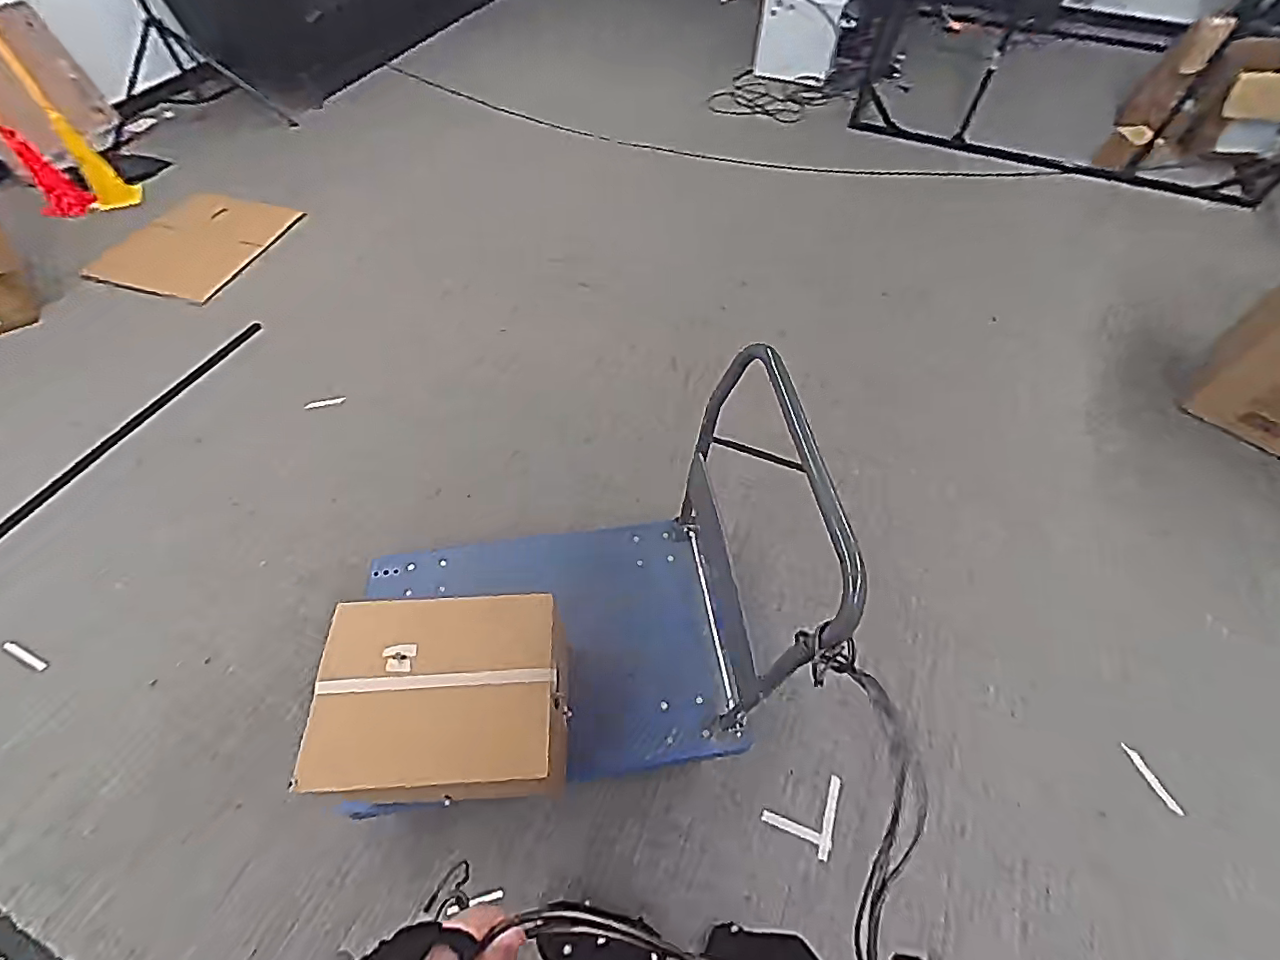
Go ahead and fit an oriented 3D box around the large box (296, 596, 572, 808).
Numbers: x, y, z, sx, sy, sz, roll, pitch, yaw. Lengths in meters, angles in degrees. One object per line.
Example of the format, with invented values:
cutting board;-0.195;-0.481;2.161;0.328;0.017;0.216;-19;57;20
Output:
large box;-0.348;0.440;1.051;0.408;0.320;0.320;-3;56;-2
